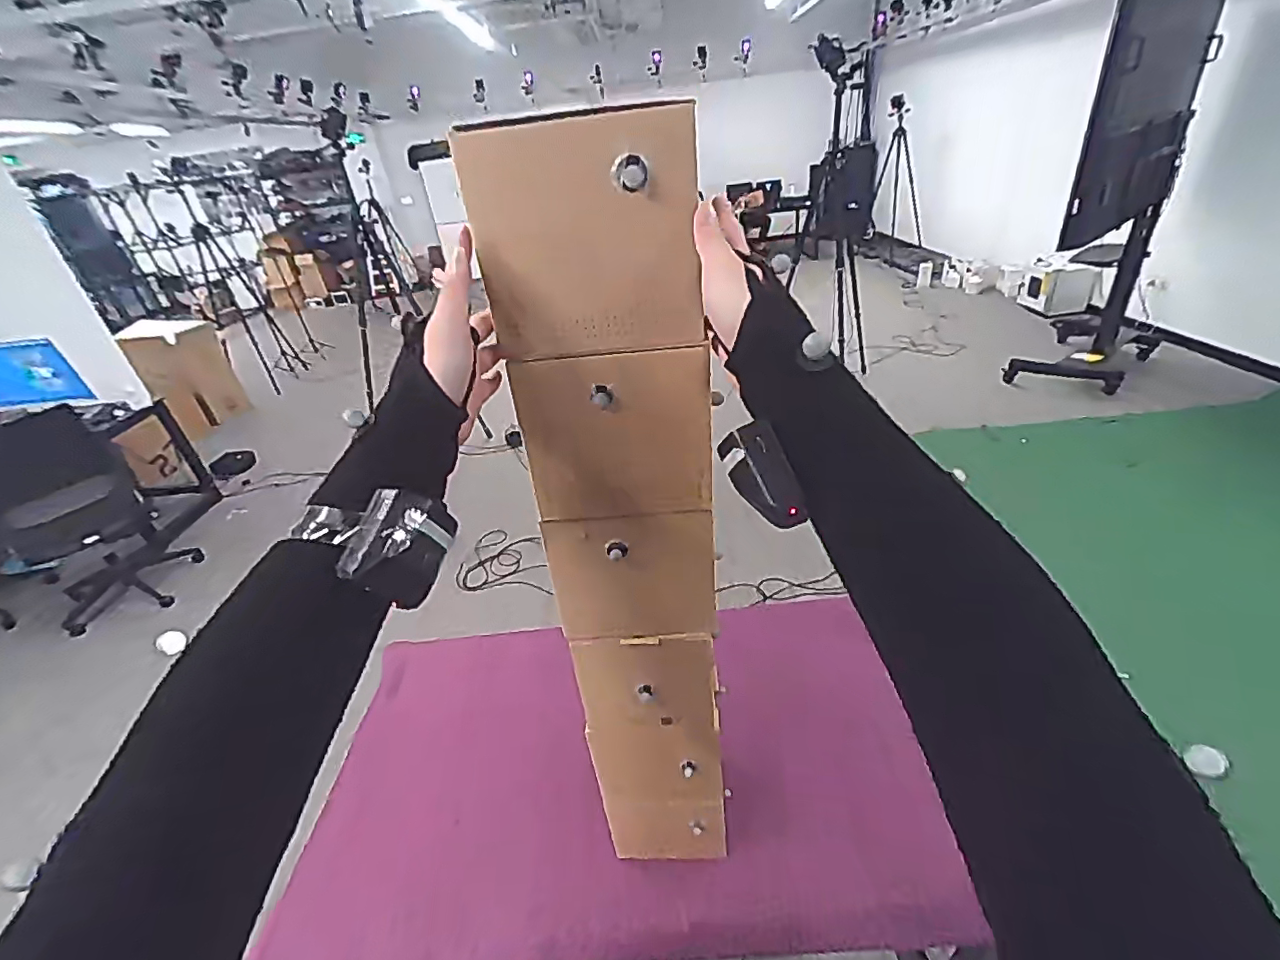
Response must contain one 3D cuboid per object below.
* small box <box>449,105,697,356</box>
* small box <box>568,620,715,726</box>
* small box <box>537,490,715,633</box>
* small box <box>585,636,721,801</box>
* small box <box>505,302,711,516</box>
[{"bbox_3d":[-0.039,-0.220,0.484,0.179,0.176,0.168,-4,30,5],"label":"small box"},{"bbox_3d":[0.011,0.206,0.723,0.168,0.176,0.179,-3,31,6],"label":"small box"},{"bbox_3d":[-0.007,0.064,0.642,0.179,0.176,0.168,-4,30,4],"label":"small box"},{"bbox_3d":[0.028,0.349,0.800,0.179,0.176,0.168,-4,31,6],"label":"small box"},{"bbox_3d":[-0.018,-0.076,0.562,0.179,0.176,0.168,-5,30,5],"label":"small box"}]
